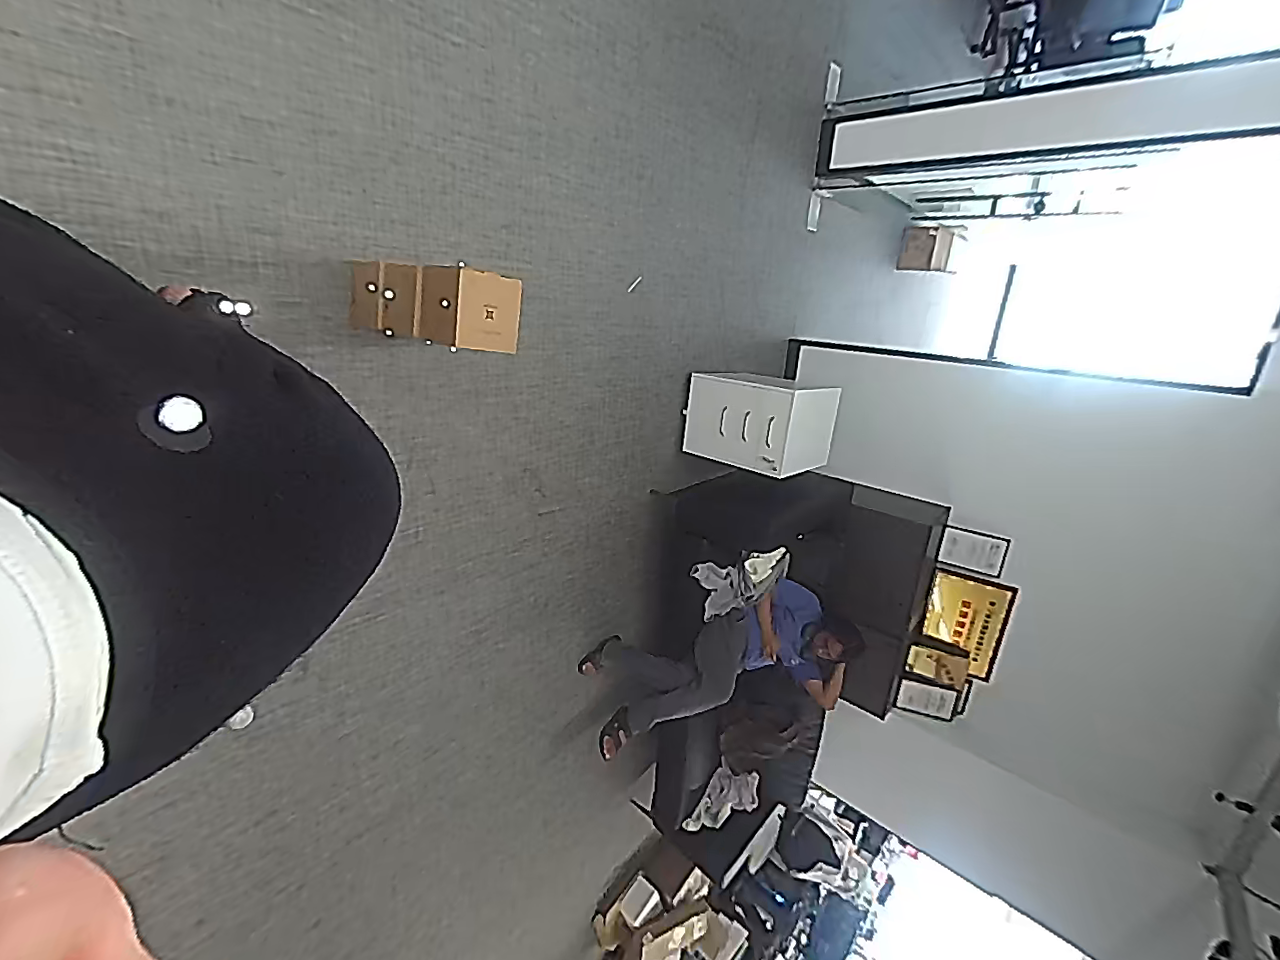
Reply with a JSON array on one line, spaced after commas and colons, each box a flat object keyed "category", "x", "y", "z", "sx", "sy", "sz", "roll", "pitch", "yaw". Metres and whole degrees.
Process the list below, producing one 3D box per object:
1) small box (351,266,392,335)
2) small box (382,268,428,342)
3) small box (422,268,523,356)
[{"category": "small box", "x": -0.660, "y": -0.482, "z": 1.472, "sx": 0.179, "sy": 0.176, "sz": 0.168, "roll": -8, "pitch": 112, "yaw": -50}, {"category": "small box", "x": -0.529, "y": -0.438, "z": 1.380, "sx": 0.179, "sy": 0.176, "sz": 0.168, "roll": -6, "pitch": 109, "yaw": -50}, {"category": "small box", "x": -0.402, "y": -0.400, "z": 1.289, "sx": 0.168, "sy": 0.176, "sz": 0.179, "roll": -8, "pitch": 113, "yaw": -48}]
